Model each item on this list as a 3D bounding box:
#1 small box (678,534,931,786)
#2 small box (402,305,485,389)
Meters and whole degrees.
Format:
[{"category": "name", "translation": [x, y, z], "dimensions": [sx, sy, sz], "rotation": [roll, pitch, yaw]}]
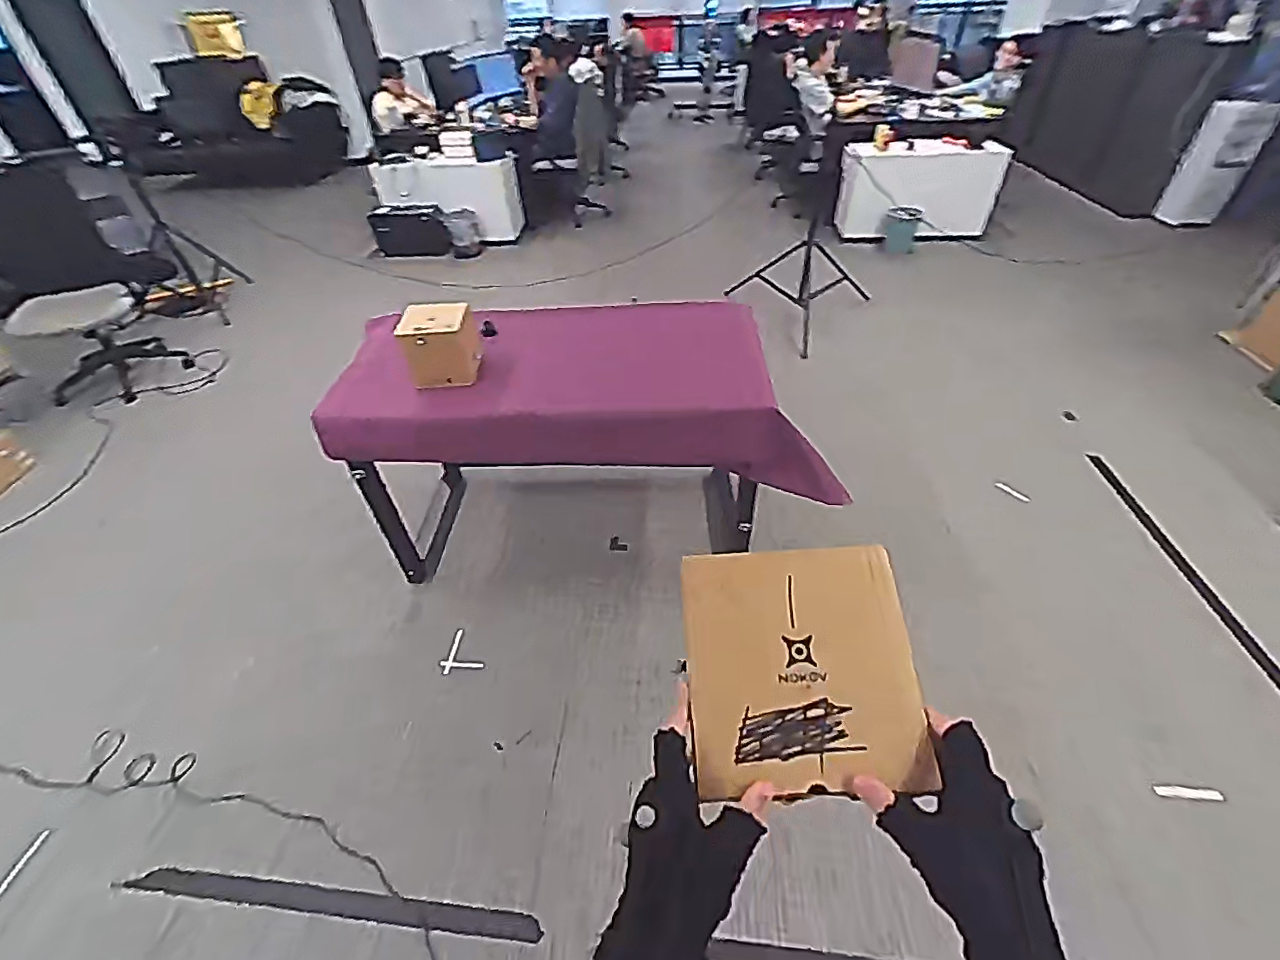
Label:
[{"category": "small box", "translation": [0.122, 0.159, 0.478], "dimensions": [0.168, 0.176, 0.179], "rotation": [-4, 66, 3]}, {"category": "small box", "translation": [-0.541, -0.373, 1.515], "dimensions": [0.168, 0.176, 0.179], "rotation": [-4, 41, -2]}]
